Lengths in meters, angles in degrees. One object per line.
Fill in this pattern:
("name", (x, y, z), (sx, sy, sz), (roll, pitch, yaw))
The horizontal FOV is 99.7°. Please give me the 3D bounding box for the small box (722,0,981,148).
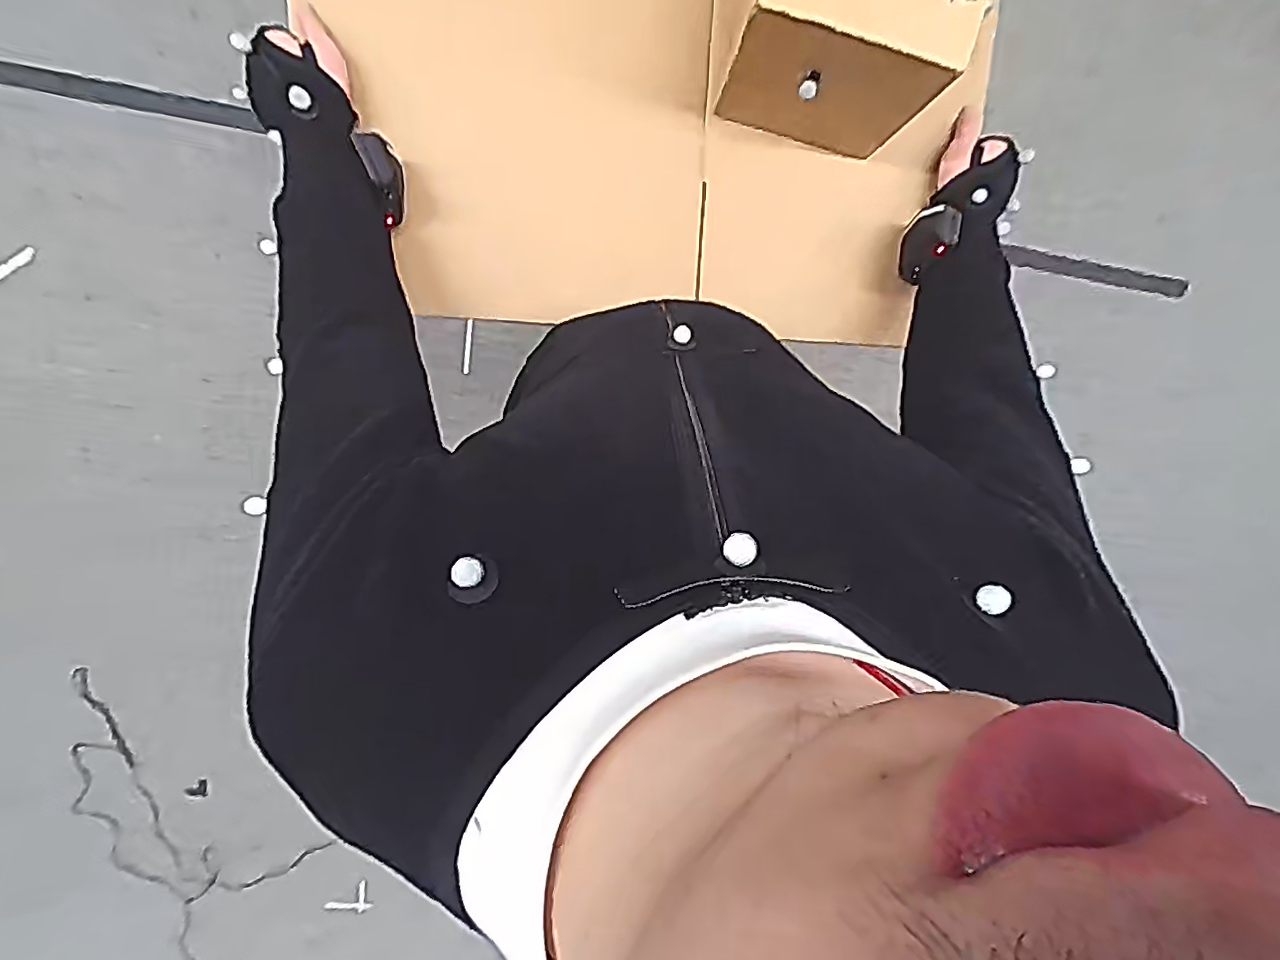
("small box", (0.185, -0.433, 0.486), (0.179, 0.176, 0.168), (13, 99, -4))
